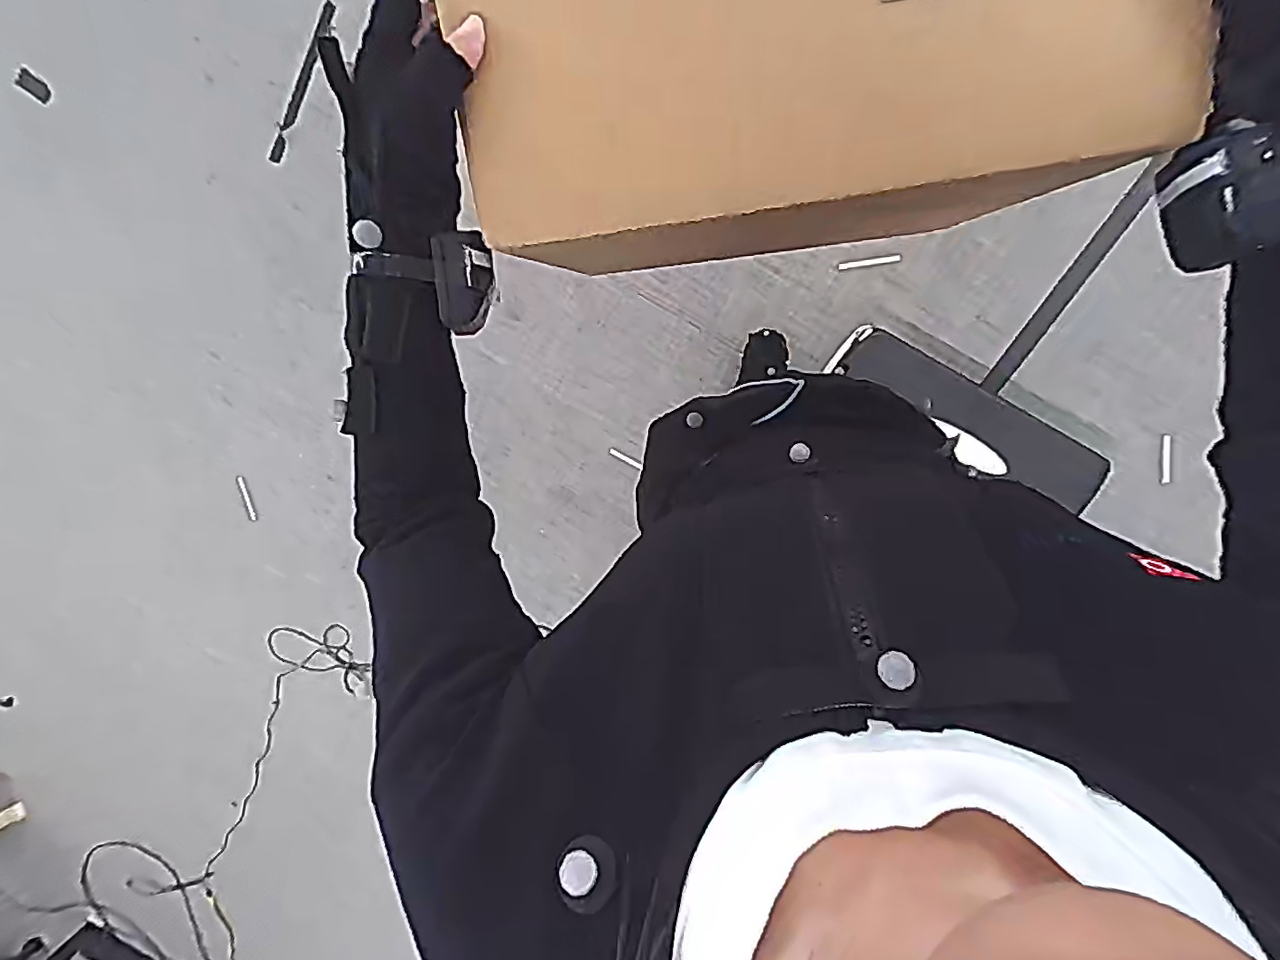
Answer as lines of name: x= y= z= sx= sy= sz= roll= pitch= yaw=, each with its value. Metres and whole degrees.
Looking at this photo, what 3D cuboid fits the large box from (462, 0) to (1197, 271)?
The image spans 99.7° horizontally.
large box: x=0.100 y=-0.368 z=0.428 sx=0.408 sy=0.320 sz=0.320 roll=-5 pitch=107 yaw=8
